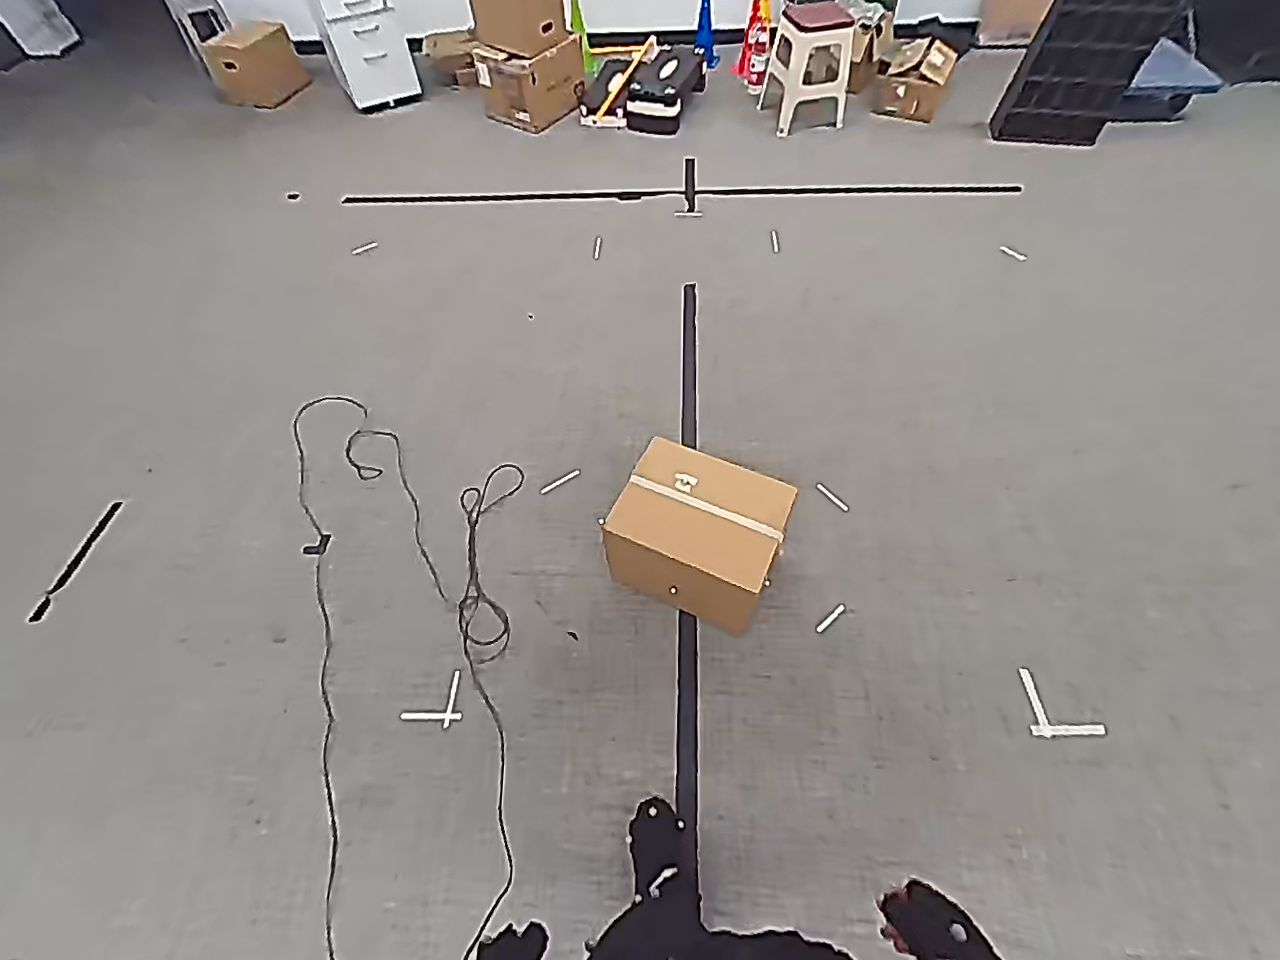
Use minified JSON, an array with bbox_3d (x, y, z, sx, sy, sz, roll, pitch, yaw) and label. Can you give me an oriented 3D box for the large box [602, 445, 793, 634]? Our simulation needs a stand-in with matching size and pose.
[{"bbox_3d":[0.155,0.165,1.467,0.408,0.320,0.320,20,59,16],"label":"large box"}]
